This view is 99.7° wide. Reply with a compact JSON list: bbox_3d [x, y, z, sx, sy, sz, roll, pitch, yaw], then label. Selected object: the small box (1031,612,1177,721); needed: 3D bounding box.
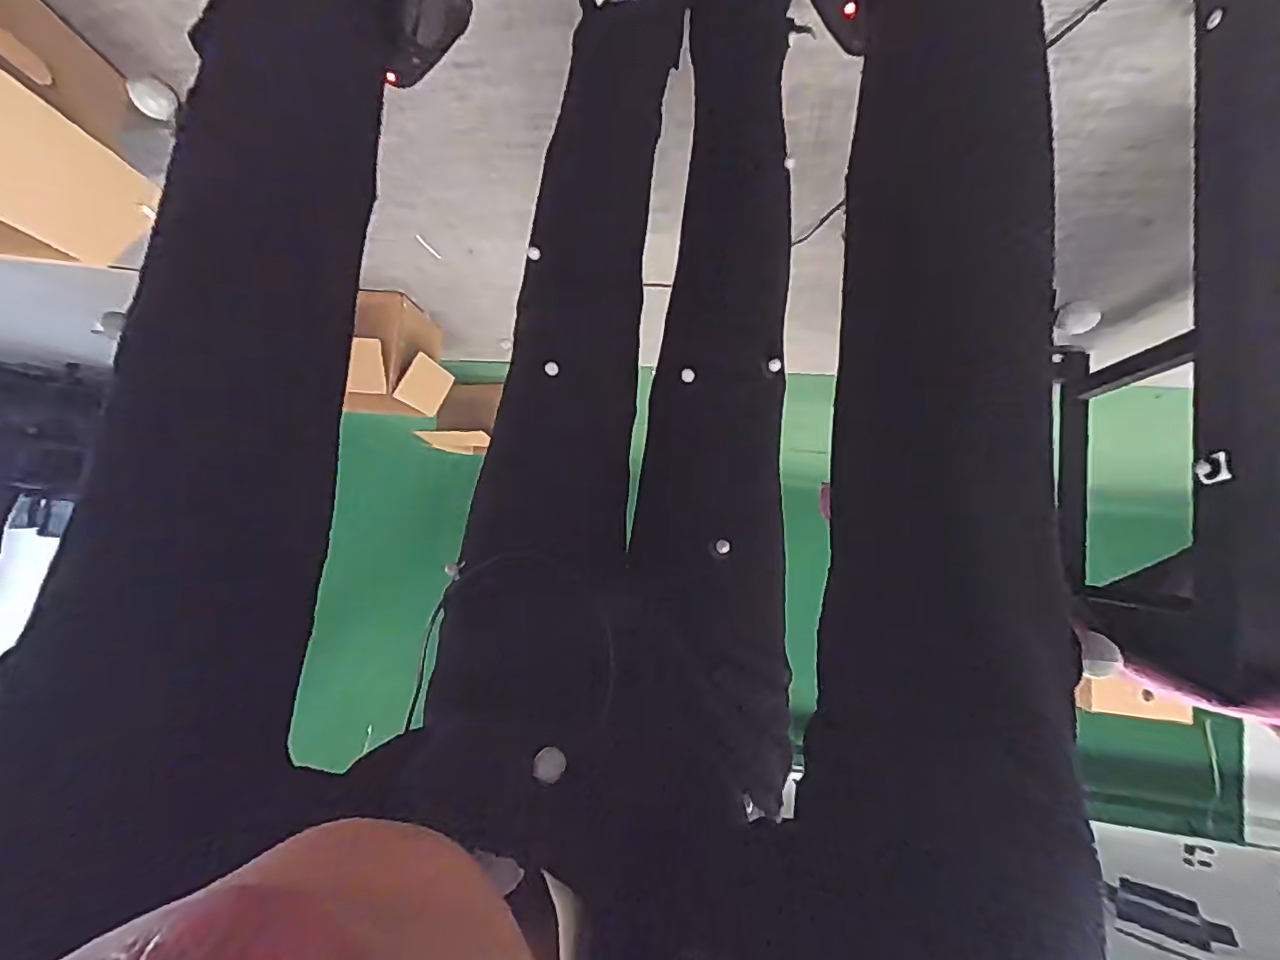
[{"bbox_3d":[0.953,0.376,1.120,0.179,0.176,0.168,5,175,7],"label":"small box"}]
